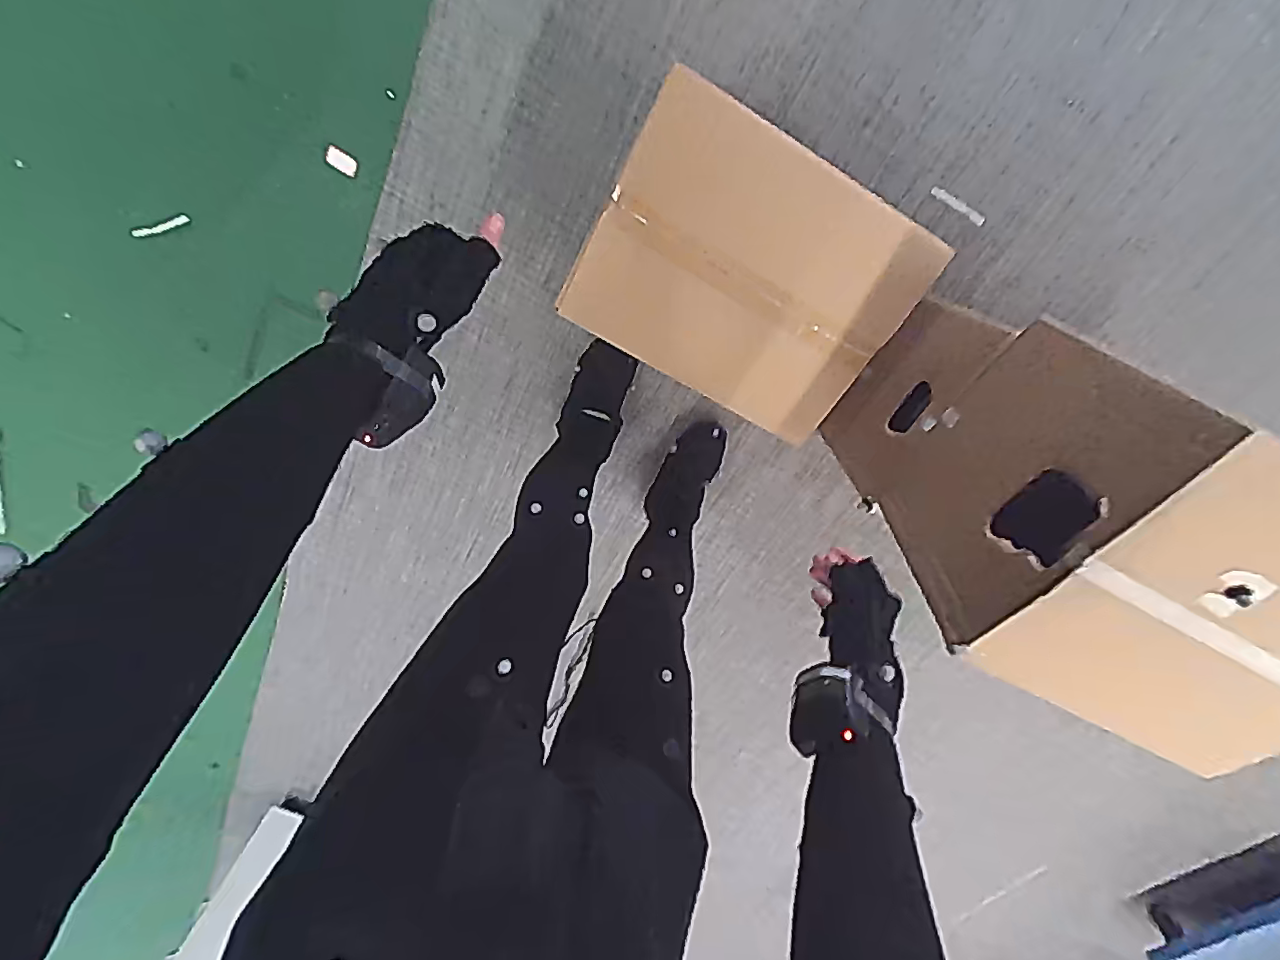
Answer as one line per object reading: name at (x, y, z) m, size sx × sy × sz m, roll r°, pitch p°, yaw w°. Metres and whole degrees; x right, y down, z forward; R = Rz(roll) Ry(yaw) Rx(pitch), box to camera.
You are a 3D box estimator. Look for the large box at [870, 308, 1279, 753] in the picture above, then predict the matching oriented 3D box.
large box at (0.574, 0.055, 0.659) m, size 0.408 × 0.320 × 0.320 m, roll 26°, pitch 121°, yaw -10°
